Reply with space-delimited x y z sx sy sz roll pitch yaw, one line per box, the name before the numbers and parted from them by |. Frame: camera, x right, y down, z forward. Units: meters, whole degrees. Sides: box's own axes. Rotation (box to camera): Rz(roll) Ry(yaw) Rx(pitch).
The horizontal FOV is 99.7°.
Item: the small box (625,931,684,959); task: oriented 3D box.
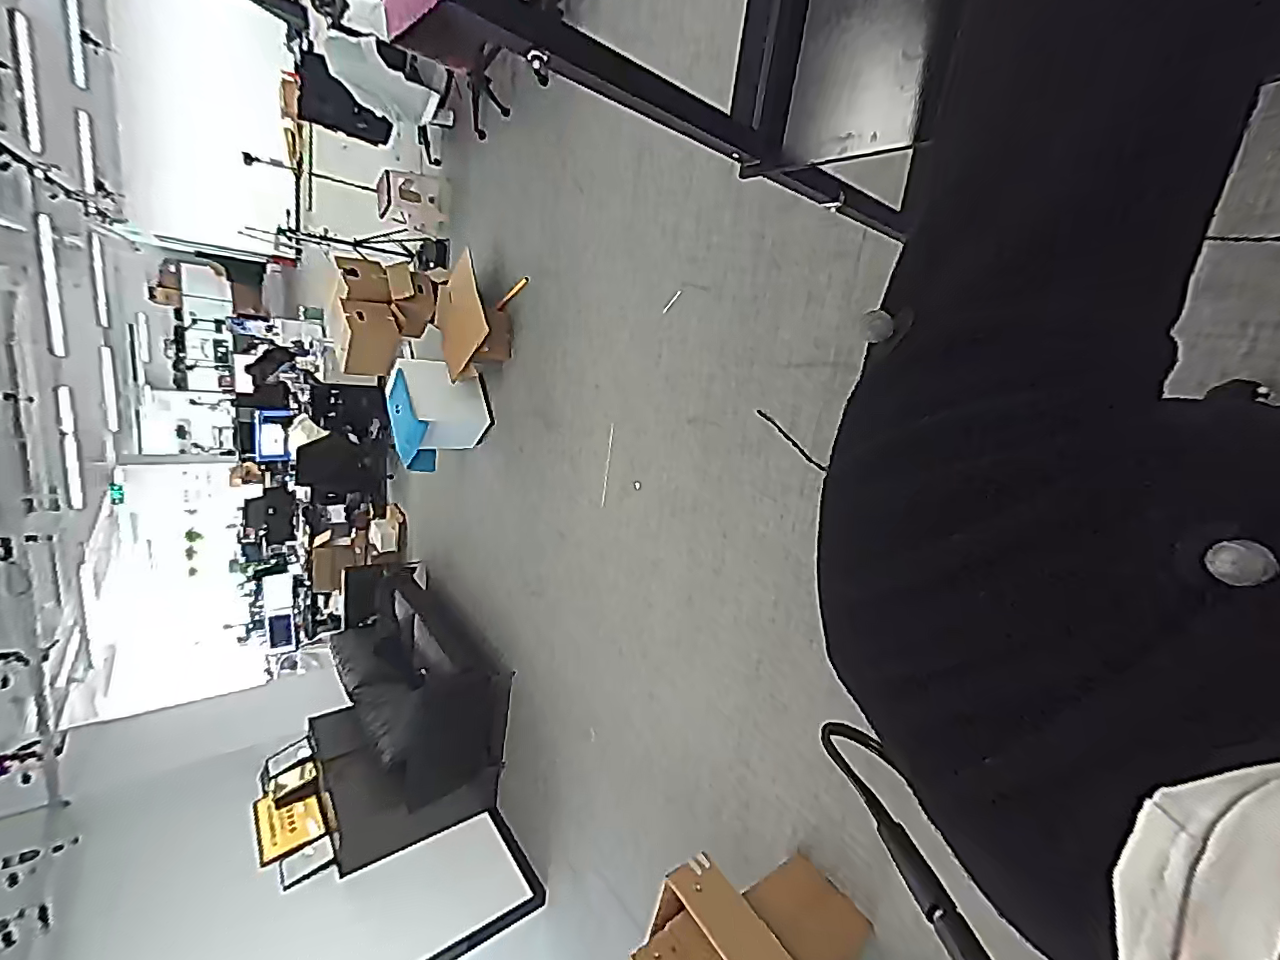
small box | 0.049 1.556 1.664 0.168 0.176 0.179 33 117 46
